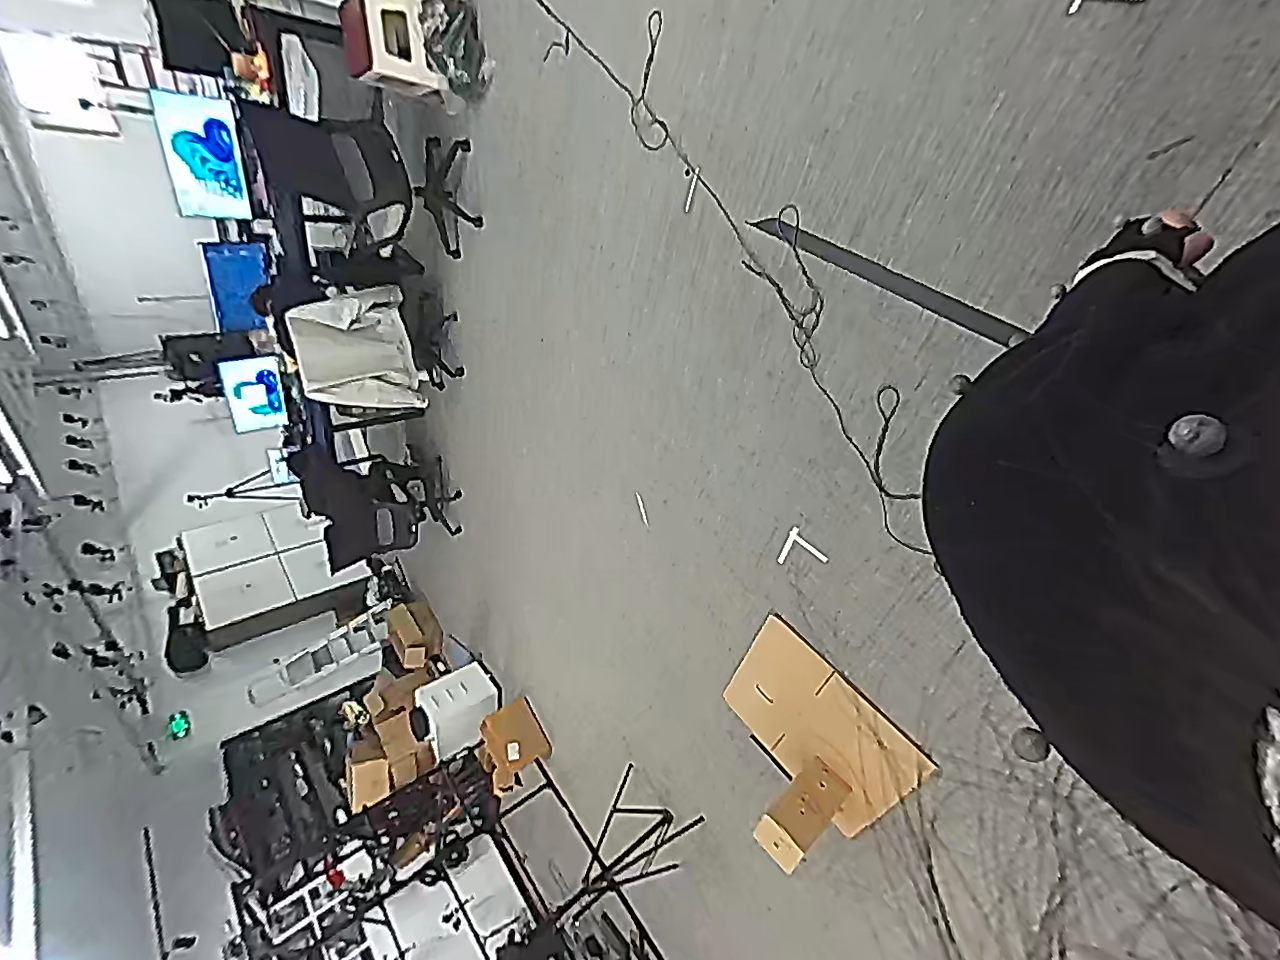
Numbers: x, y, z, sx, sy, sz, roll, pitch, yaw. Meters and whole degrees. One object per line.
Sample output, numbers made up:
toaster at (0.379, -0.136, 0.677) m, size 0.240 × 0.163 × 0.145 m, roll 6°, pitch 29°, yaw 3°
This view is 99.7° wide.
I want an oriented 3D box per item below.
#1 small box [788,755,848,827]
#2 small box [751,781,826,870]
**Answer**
small box at (0.648, 1.172, 2.018) m, size 0.168 × 0.176 × 0.179 m, roll 37°, pitch 130°, yaw 36°
small box at (0.528, 1.219, 1.915) m, size 0.168 × 0.176 × 0.179 m, roll 37°, pitch 131°, yaw 34°
